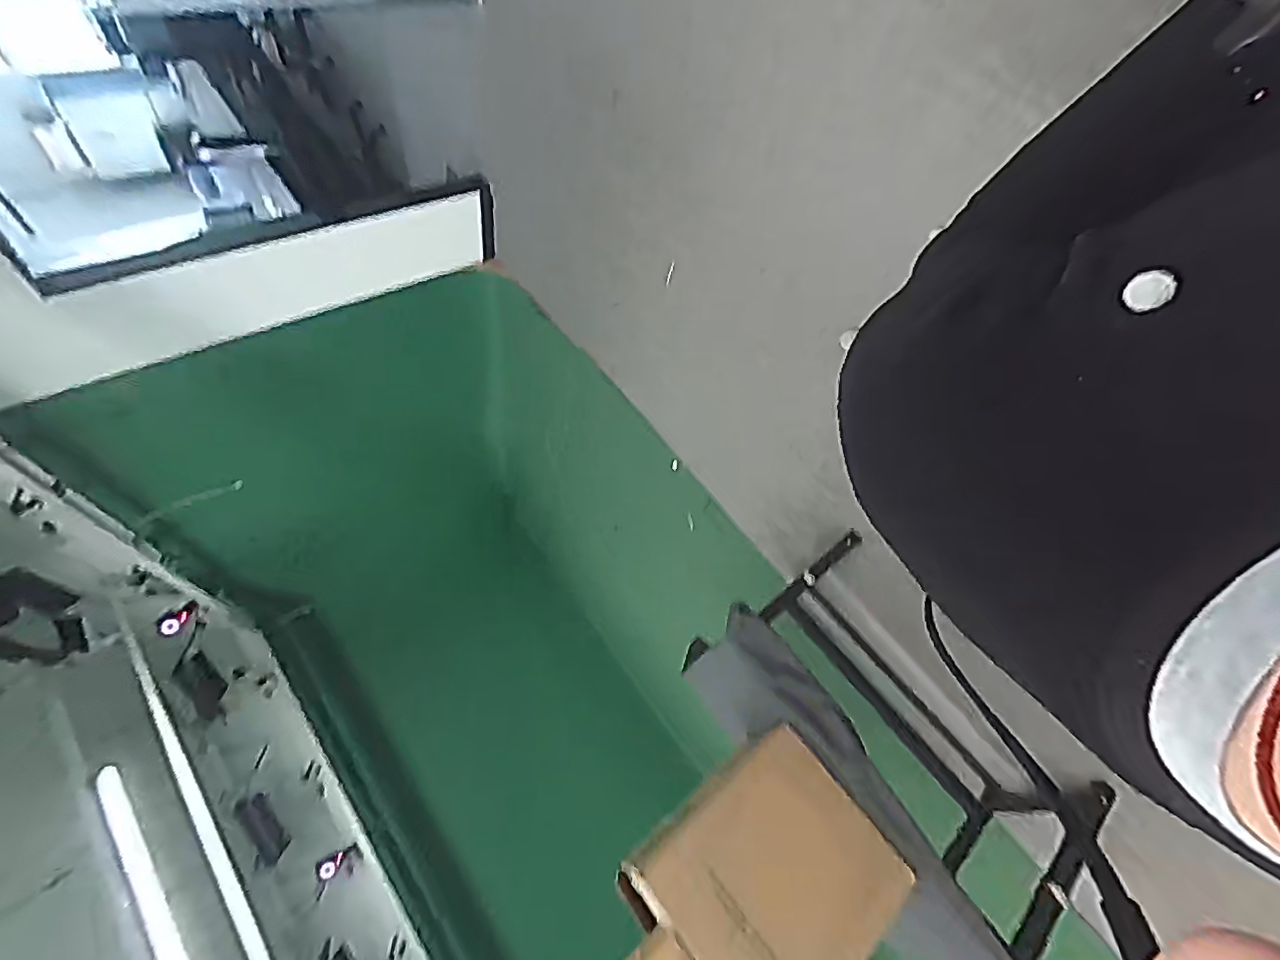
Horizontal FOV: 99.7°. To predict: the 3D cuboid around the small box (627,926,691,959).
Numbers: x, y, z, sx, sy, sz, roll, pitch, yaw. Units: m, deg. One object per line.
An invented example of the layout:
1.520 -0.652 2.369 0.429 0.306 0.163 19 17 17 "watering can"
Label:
0.059 1.318 1.412 0.168 0.176 0.179 49 149 19 "small box"
